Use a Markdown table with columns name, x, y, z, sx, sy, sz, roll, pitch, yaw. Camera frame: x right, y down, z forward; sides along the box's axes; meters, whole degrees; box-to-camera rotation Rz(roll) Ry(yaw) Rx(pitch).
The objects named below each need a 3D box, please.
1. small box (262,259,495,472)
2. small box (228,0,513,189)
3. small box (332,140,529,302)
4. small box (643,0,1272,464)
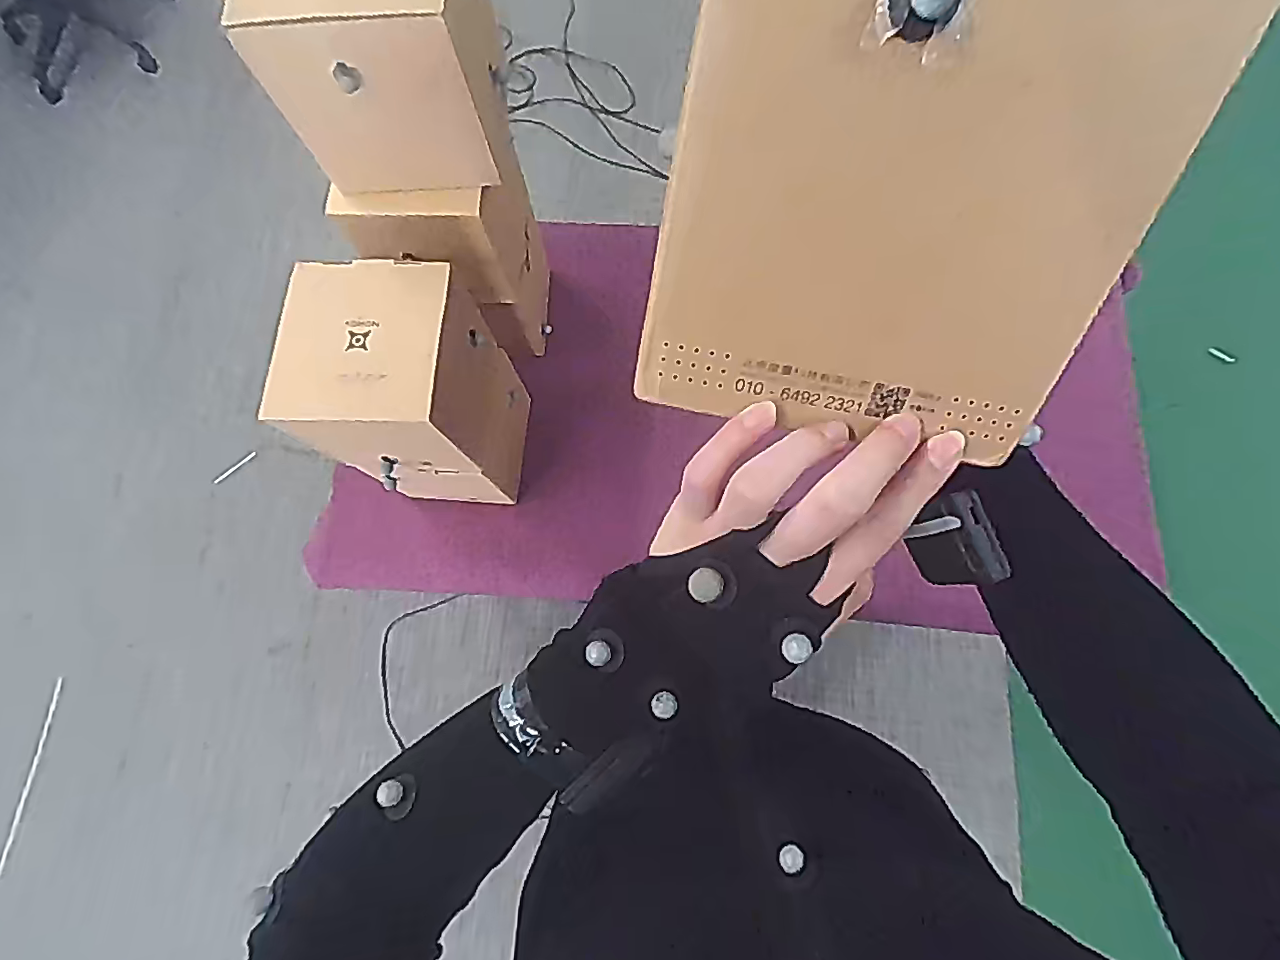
| name | x | y | z | sx | sy | sz | roll | pitch | yaw |
| --- | --- | --- | --- | --- | --- | --- | --- | --- | --- |
| small box | -0.270 | -0.119 | 0.606 | 0.168 | 0.176 | 0.179 | 2 | 75 | 2 |
| small box | -0.231 | -0.403 | 0.512 | 0.179 | 0.176 | 0.168 | -2 | 75 | 1 |
| small box | -0.240 | -0.337 | 0.664 | 0.168 | 0.176 | 0.179 | 1 | 75 | 2 |
| small box | 0.100 | -0.130 | 0.269 | 0.168 | 0.179 | 0.176 | 11 | 120 | 0 |
